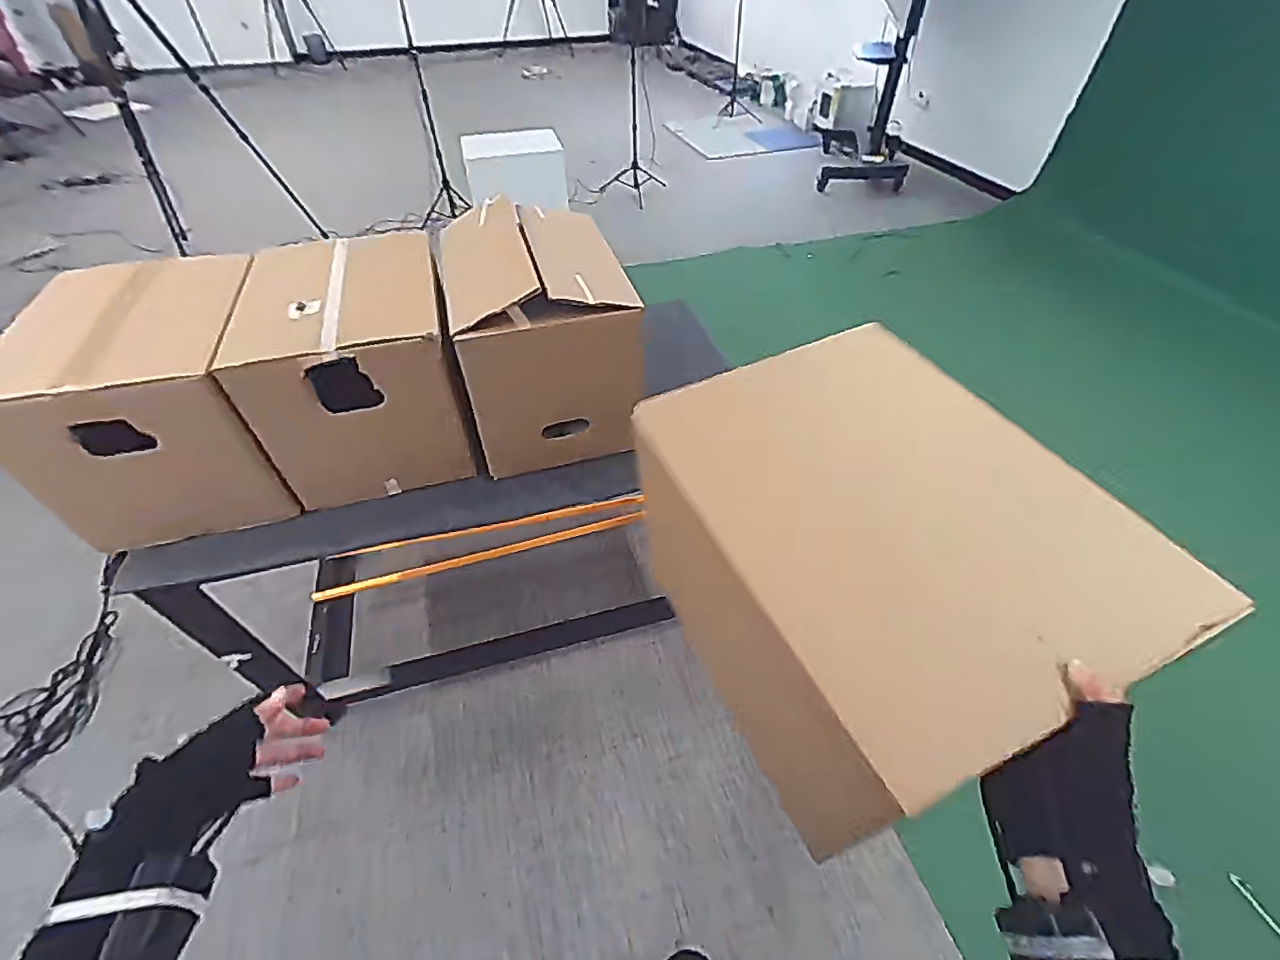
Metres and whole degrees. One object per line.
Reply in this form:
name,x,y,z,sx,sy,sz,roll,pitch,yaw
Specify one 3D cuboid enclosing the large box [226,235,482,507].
large box,-0.506,-0.218,1.030,0.320,0.320,0.408,-14,49,-11
